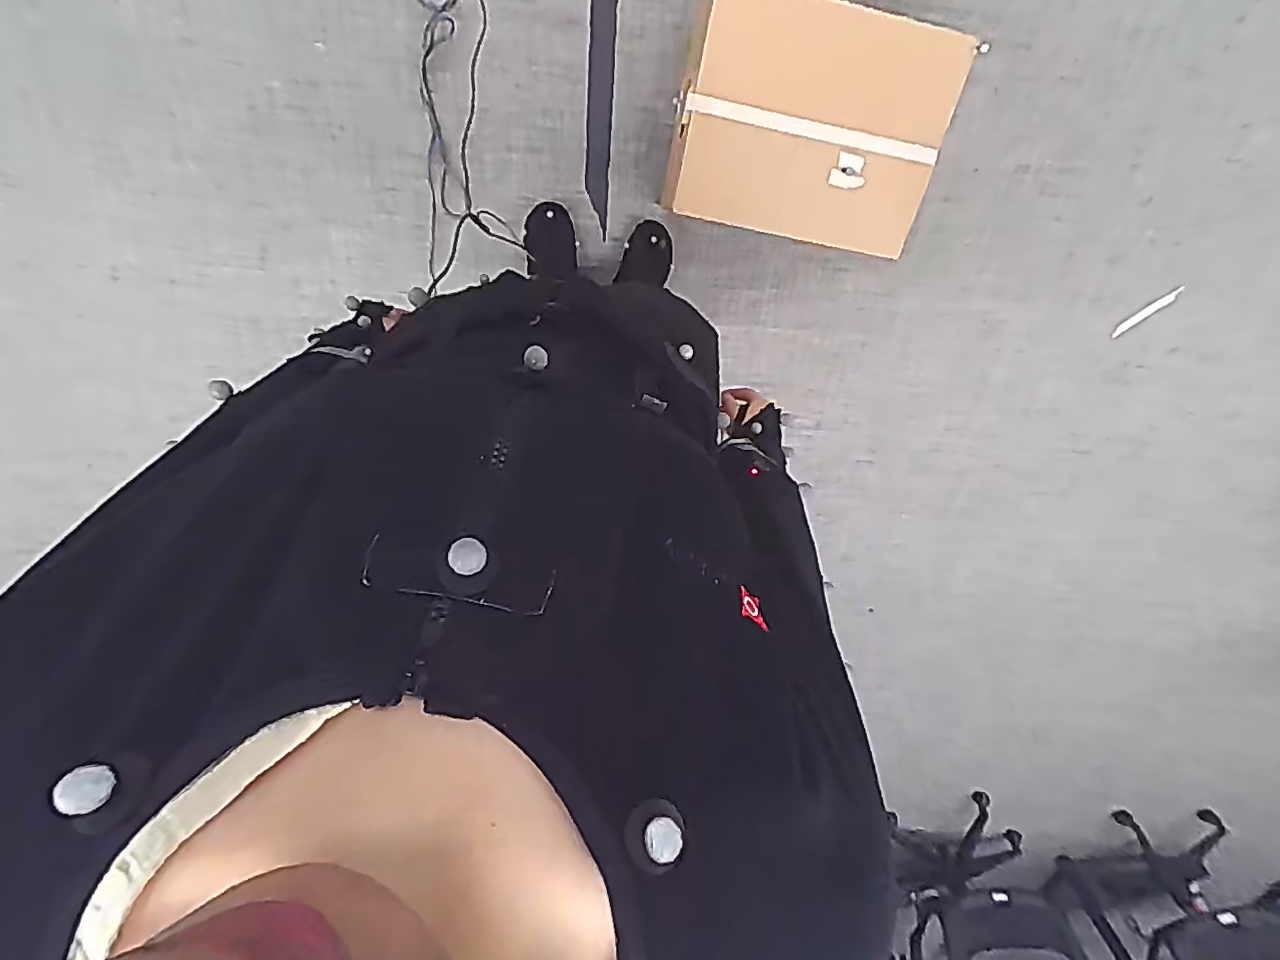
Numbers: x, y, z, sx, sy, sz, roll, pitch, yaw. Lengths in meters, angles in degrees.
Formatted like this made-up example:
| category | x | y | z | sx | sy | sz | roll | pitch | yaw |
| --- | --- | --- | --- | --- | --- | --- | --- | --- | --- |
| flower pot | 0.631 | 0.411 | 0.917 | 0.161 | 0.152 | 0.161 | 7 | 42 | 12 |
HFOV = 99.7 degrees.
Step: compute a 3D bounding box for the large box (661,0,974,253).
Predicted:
| category | x | y | z | sx | sy | sz | roll | pitch | yaw |
| --- | --- | --- | --- | --- | --- | --- | --- | --- | --- |
| large box | 0.268 | -0.623 | 0.976 | 0.408 | 0.320 | 0.320 | 8 | 119 | -8 |
